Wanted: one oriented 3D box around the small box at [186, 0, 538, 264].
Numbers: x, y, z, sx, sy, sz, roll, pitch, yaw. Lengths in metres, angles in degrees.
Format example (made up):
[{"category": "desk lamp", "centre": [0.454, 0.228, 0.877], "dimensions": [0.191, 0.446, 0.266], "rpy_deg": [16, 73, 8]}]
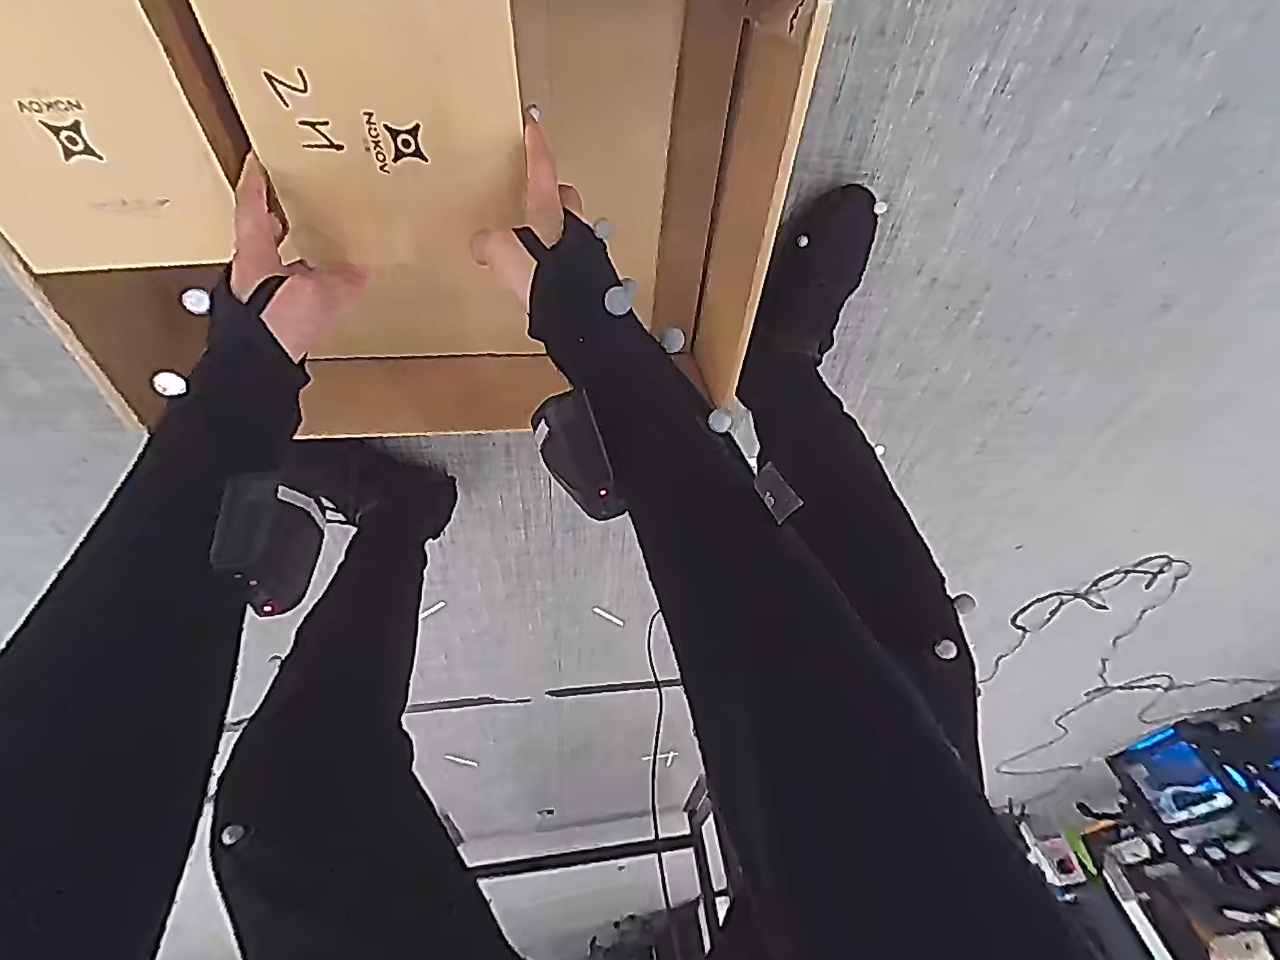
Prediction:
[{"category": "small box", "centre": [-0.179, -0.283, 0.405], "dimensions": [0.179, 0.176, 0.168], "rpy_deg": [-8, 137, -9]}]
